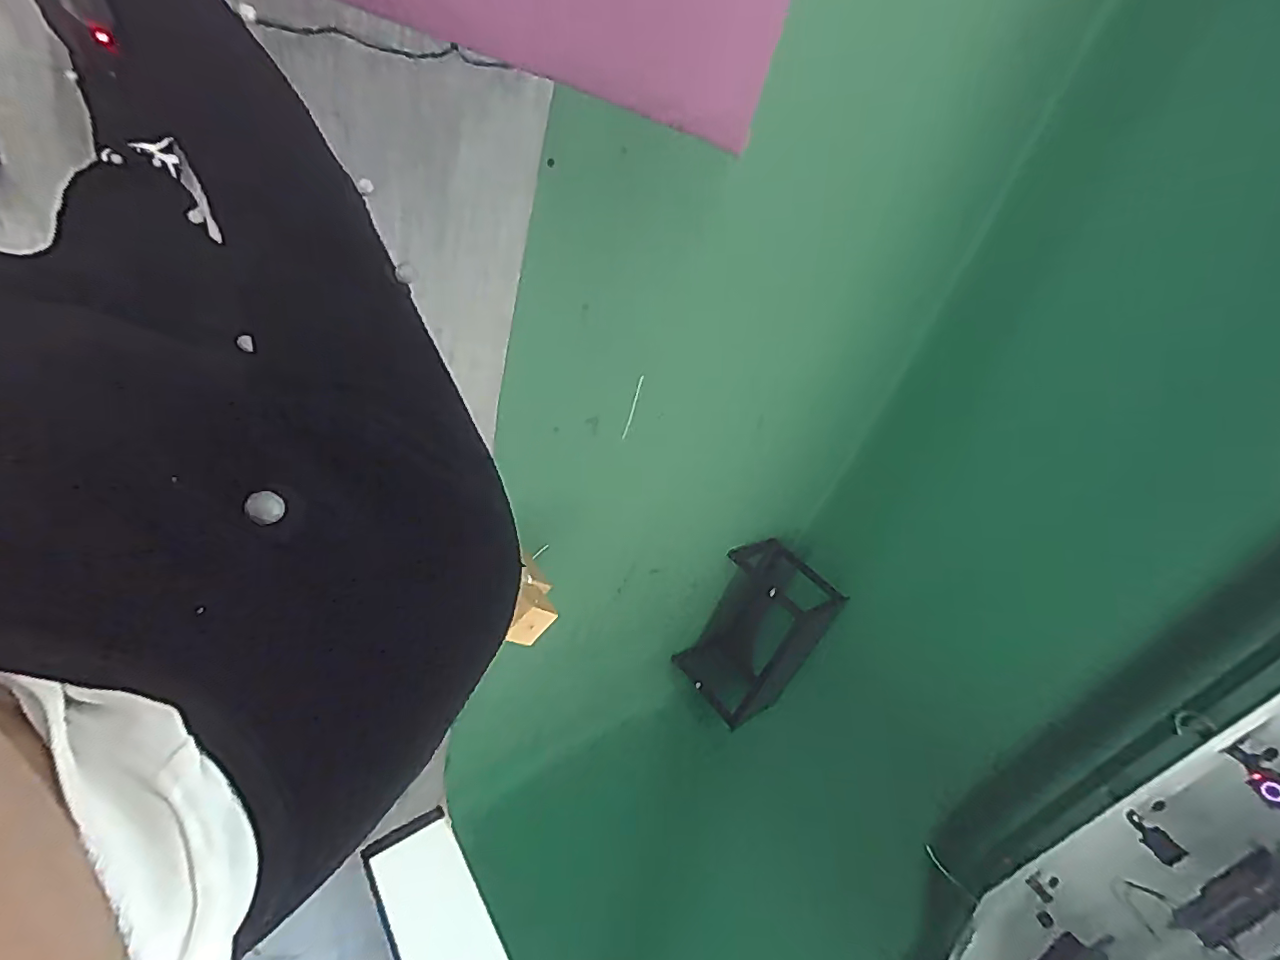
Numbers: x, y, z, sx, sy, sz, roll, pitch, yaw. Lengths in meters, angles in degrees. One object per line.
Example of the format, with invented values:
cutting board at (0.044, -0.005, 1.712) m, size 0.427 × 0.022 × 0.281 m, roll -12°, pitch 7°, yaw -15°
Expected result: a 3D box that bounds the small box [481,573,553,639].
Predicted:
small box at (-0.473, 0.482, 2.073) m, size 0.168 × 0.176 × 0.179 m, roll -46°, pitch 145°, yaw 2°
